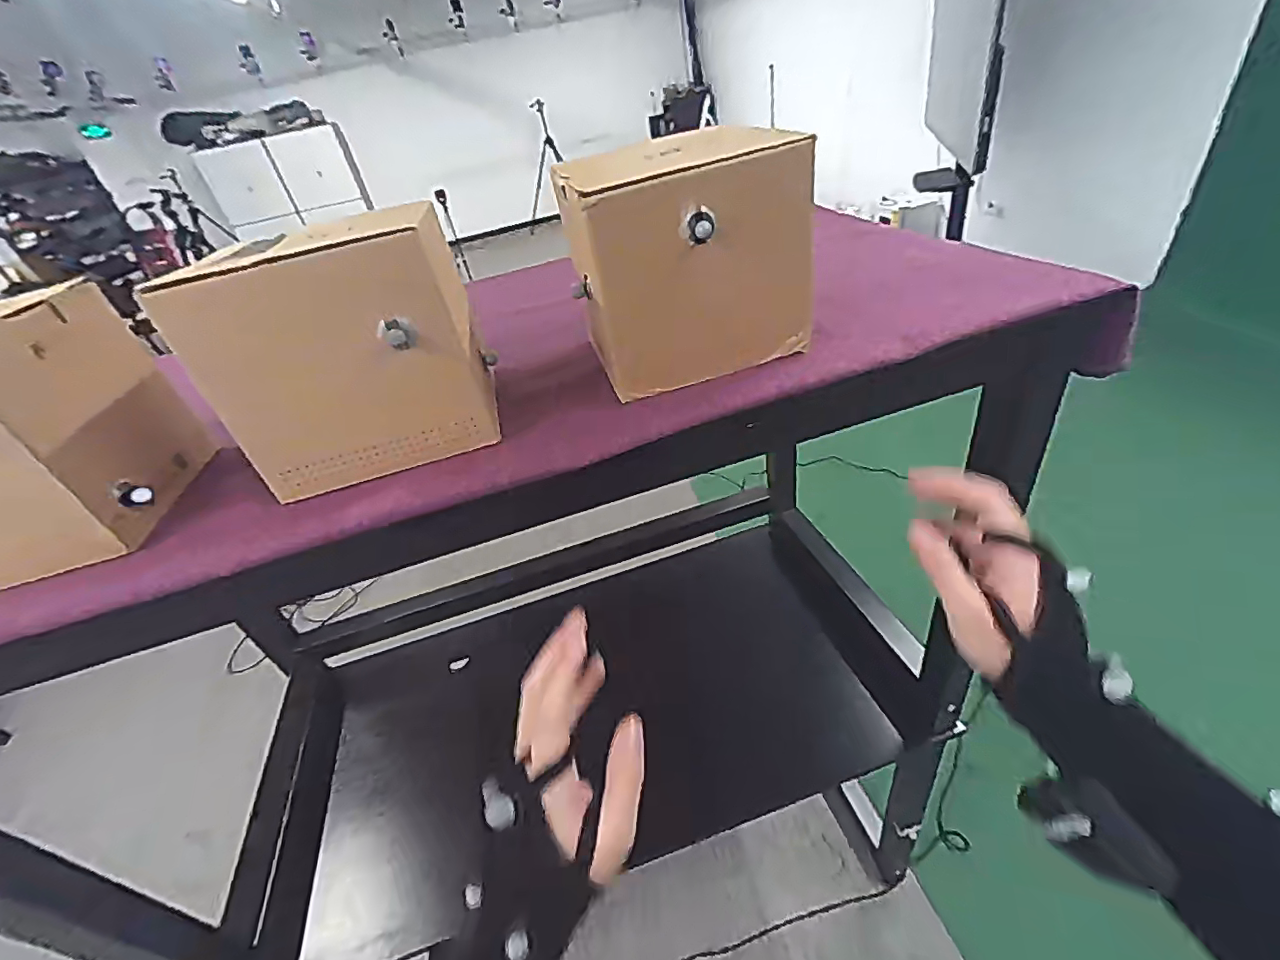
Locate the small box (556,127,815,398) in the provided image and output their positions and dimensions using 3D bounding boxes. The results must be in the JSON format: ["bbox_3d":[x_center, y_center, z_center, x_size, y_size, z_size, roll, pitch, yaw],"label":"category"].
[{"bbox_3d":[0.038,-0.192,0.479,0.179,0.176,0.168,-16,38,-5],"label":"small box"}]

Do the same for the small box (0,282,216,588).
[{"bbox_3d":[-0.487,-0.029,0.416,0.179,0.176,0.168,-17,35,-5],"label":"small box"}]
